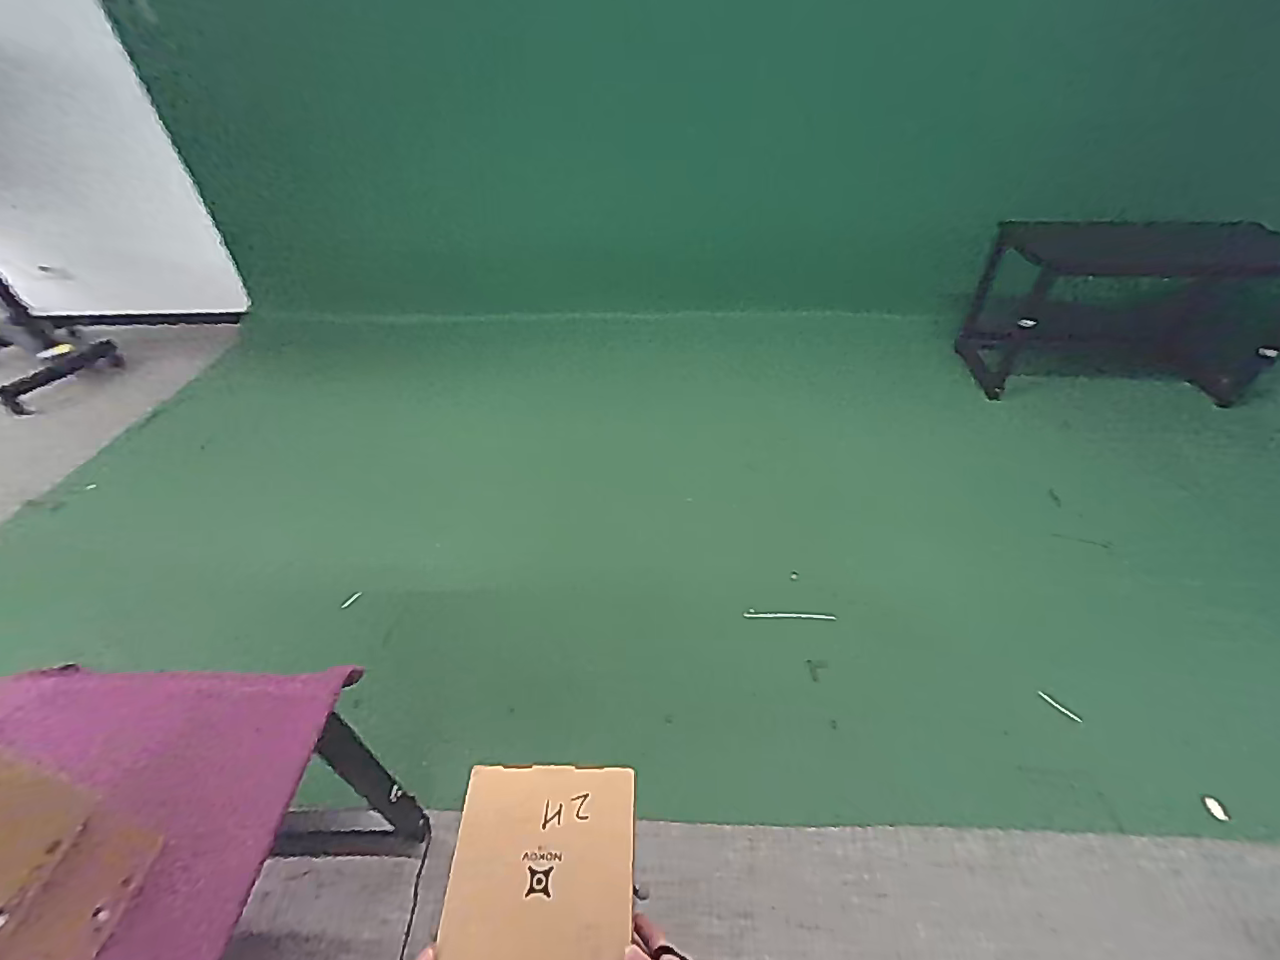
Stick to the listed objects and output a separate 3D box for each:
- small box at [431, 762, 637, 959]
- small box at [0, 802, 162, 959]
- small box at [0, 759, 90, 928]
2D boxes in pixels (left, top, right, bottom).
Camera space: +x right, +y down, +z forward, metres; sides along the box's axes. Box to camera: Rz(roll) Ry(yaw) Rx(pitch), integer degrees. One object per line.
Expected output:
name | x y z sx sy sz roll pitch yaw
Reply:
small box | -0.089 0.408 0.546 0.168 0.176 0.179 2 45 1
small box | -0.798 0.526 0.698 0.179 0.176 0.168 1 43 4
small box | -0.785 0.406 0.586 0.179 0.176 0.168 -2 43 3
